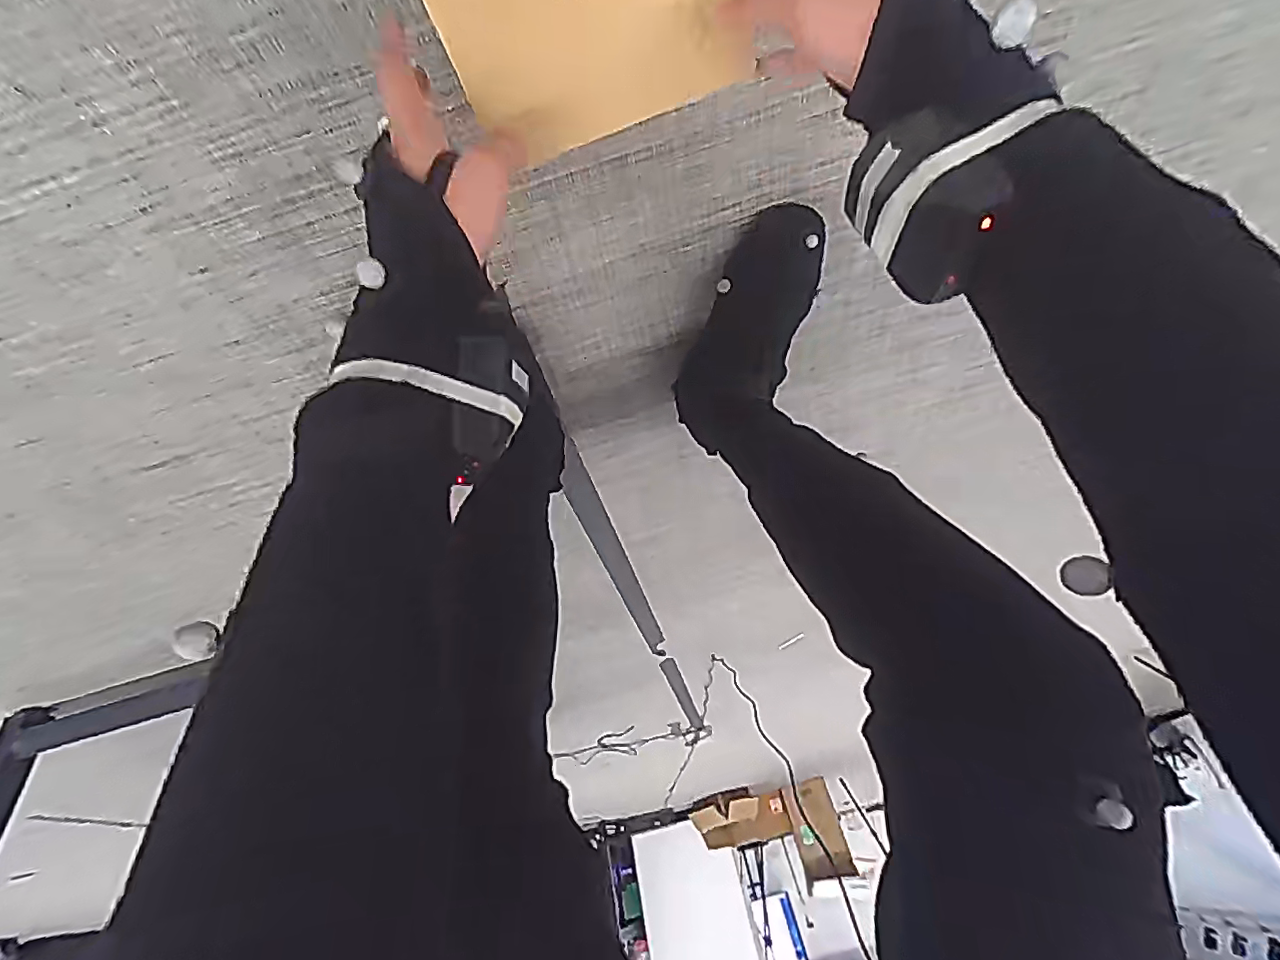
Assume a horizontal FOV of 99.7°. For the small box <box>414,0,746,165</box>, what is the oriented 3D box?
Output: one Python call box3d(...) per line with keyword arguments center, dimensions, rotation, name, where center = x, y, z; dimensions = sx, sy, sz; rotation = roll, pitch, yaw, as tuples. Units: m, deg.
box3d(center=(-0.051, -0.326, 0.304), dimensions=(0.168, 0.176, 0.179), rotation=(-19, 143, 5), name="small box")
